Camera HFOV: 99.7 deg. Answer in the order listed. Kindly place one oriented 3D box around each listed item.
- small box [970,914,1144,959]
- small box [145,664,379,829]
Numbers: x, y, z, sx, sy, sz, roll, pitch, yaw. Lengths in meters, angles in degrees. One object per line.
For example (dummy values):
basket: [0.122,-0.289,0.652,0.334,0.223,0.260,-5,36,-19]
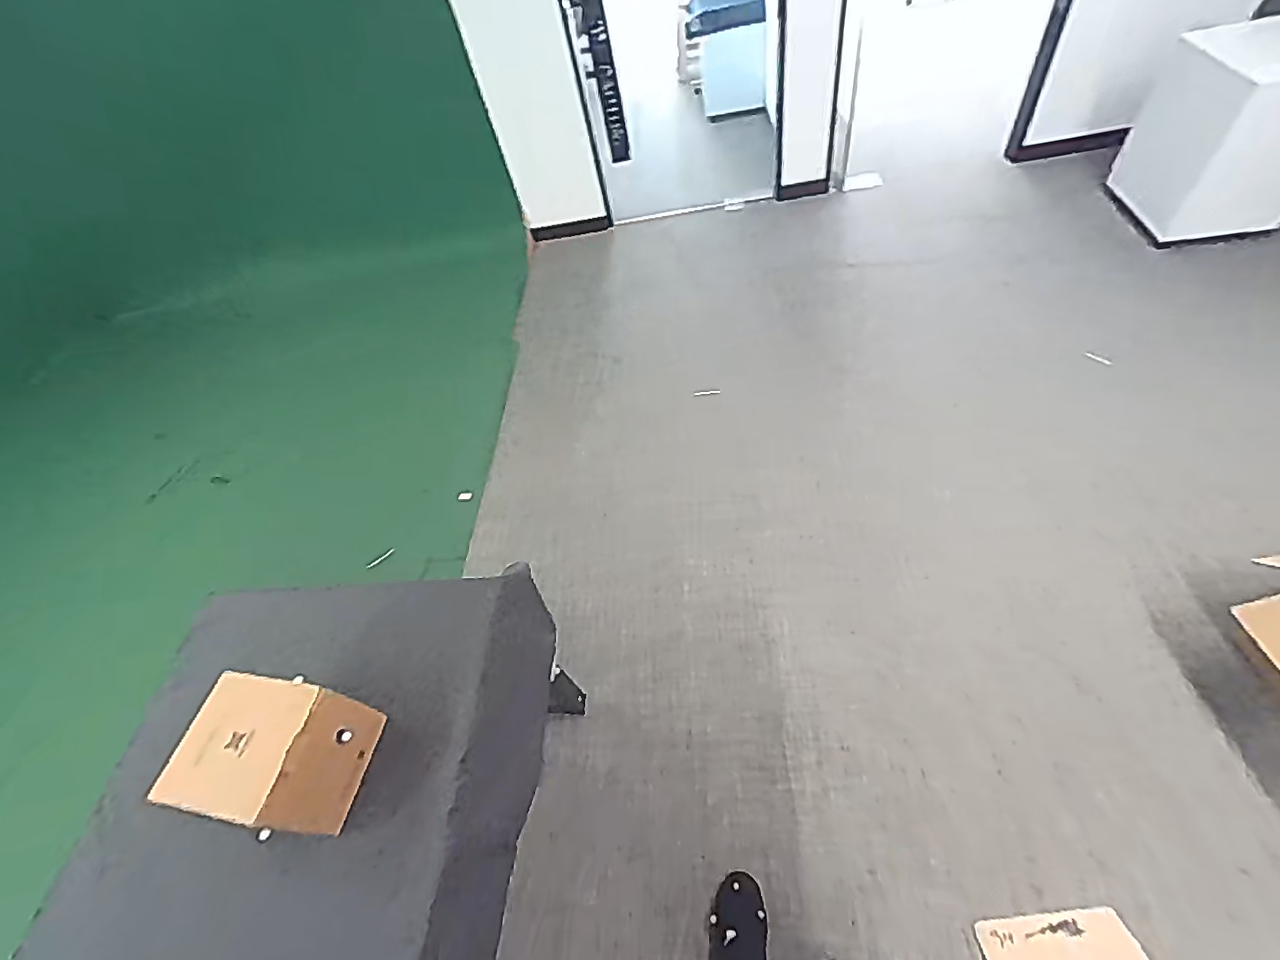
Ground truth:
small box: [0.502,0.636,0.593,0.168,0.179,0.176,-17,93,14]
small box: [-0.516,0.382,0.771,0.179,0.176,0.168,2,51,15]
